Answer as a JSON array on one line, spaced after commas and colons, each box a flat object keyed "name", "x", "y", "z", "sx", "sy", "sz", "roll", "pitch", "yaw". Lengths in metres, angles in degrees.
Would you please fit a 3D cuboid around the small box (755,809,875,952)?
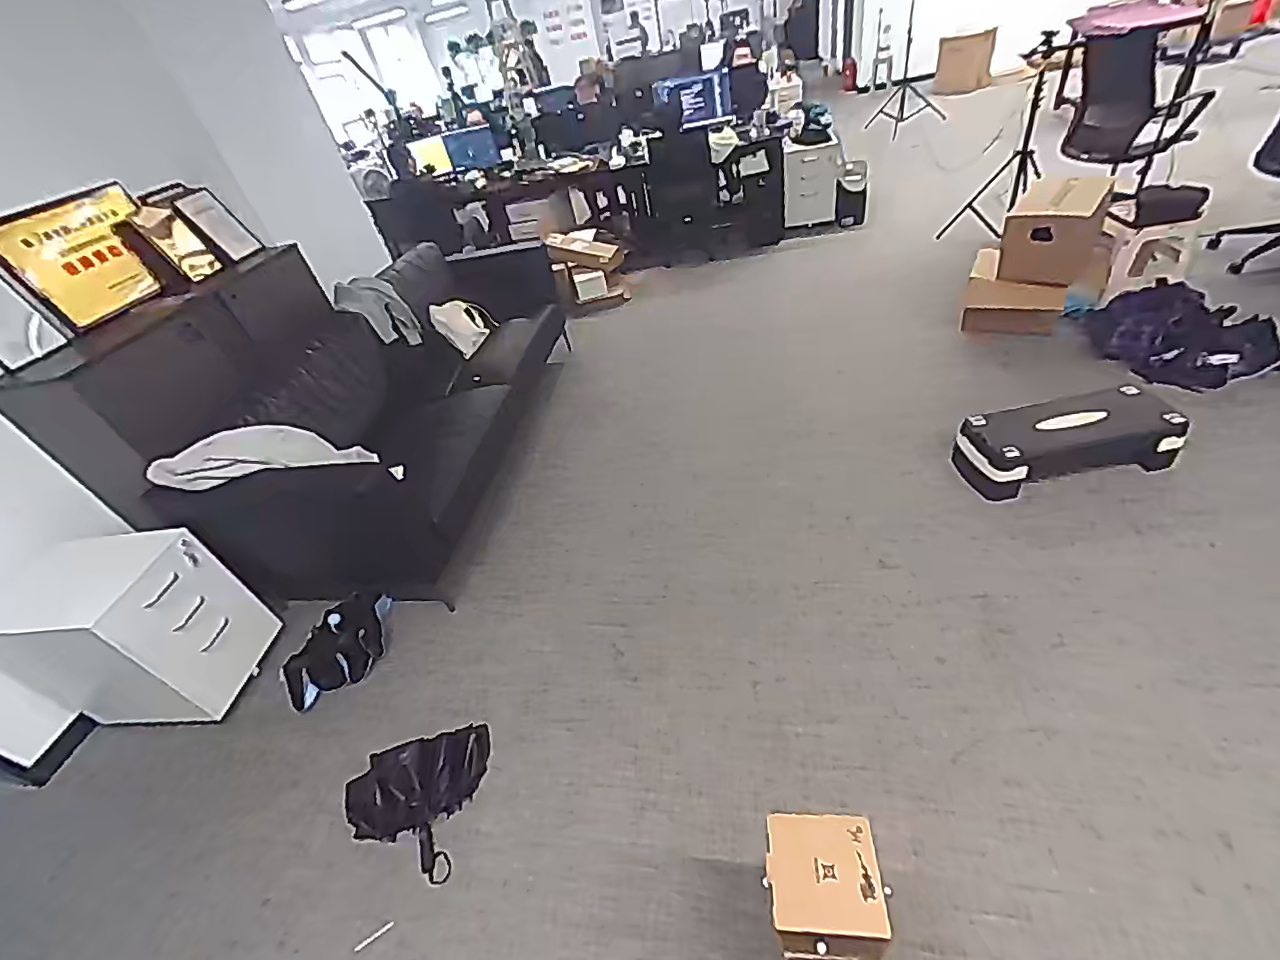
[{"name": "small box", "x": 0.300, "y": 0.700, "z": 0.946, "sx": 0.179, "sy": 0.176, "sz": 0.168, "roll": -6, "pitch": 40, "yaw": 12}]

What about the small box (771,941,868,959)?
[{"name": "small box", "x": 0.332, "y": 0.821, "z": 1.051, "sx": 0.168, "sy": 0.176, "sz": 0.179, "roll": -6, "pitch": 41, "yaw": 10}]
